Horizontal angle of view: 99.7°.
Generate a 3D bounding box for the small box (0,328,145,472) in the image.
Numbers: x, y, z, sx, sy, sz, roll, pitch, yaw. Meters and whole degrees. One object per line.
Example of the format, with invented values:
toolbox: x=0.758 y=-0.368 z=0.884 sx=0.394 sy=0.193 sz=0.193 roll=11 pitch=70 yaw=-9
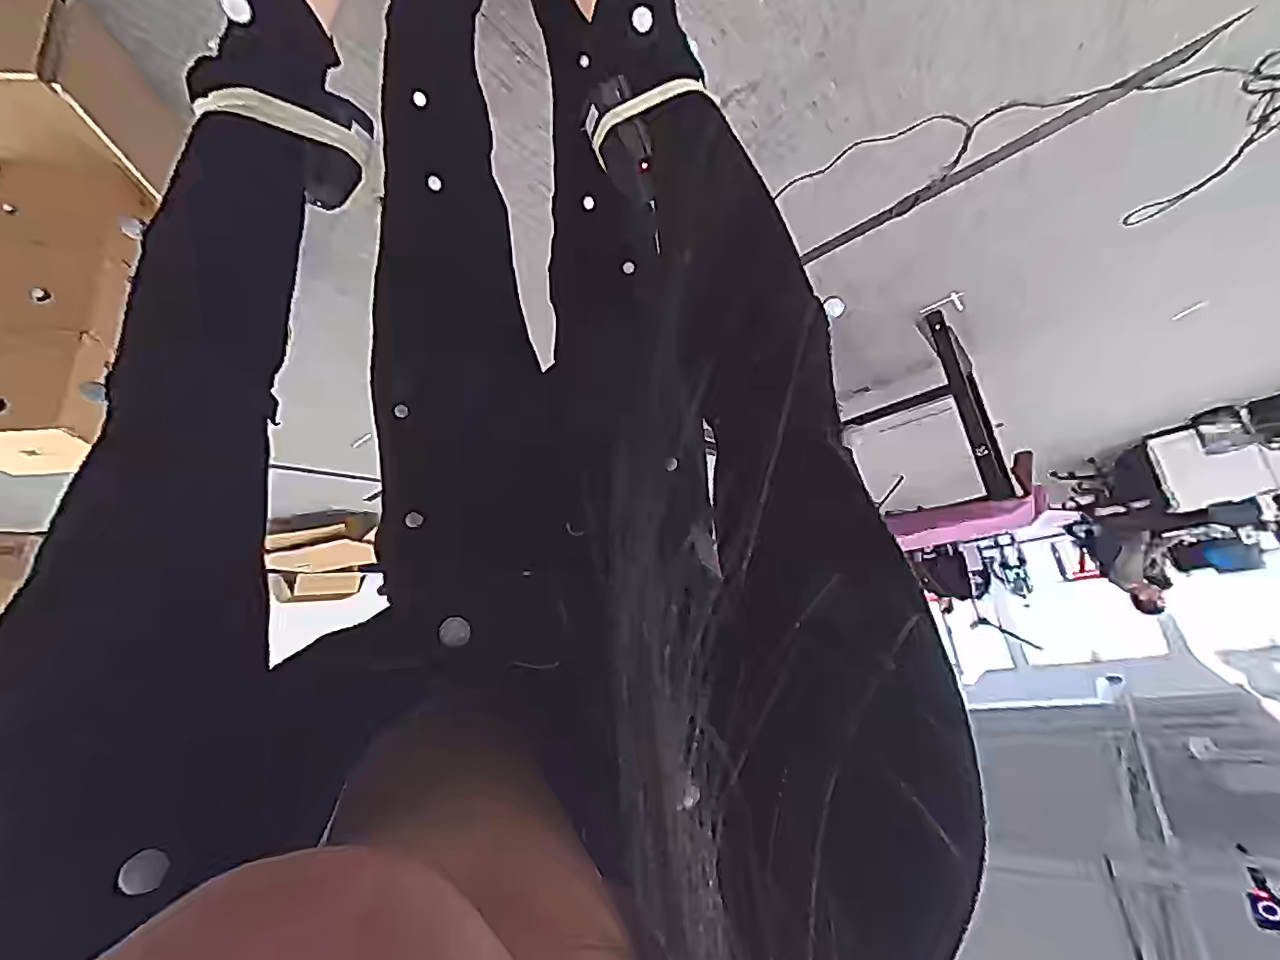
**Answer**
small box: x=-0.934 y=-0.124 z=0.847 sx=0.179 sy=0.176 sz=0.168 roll=-4 pitch=162 yaw=-12
